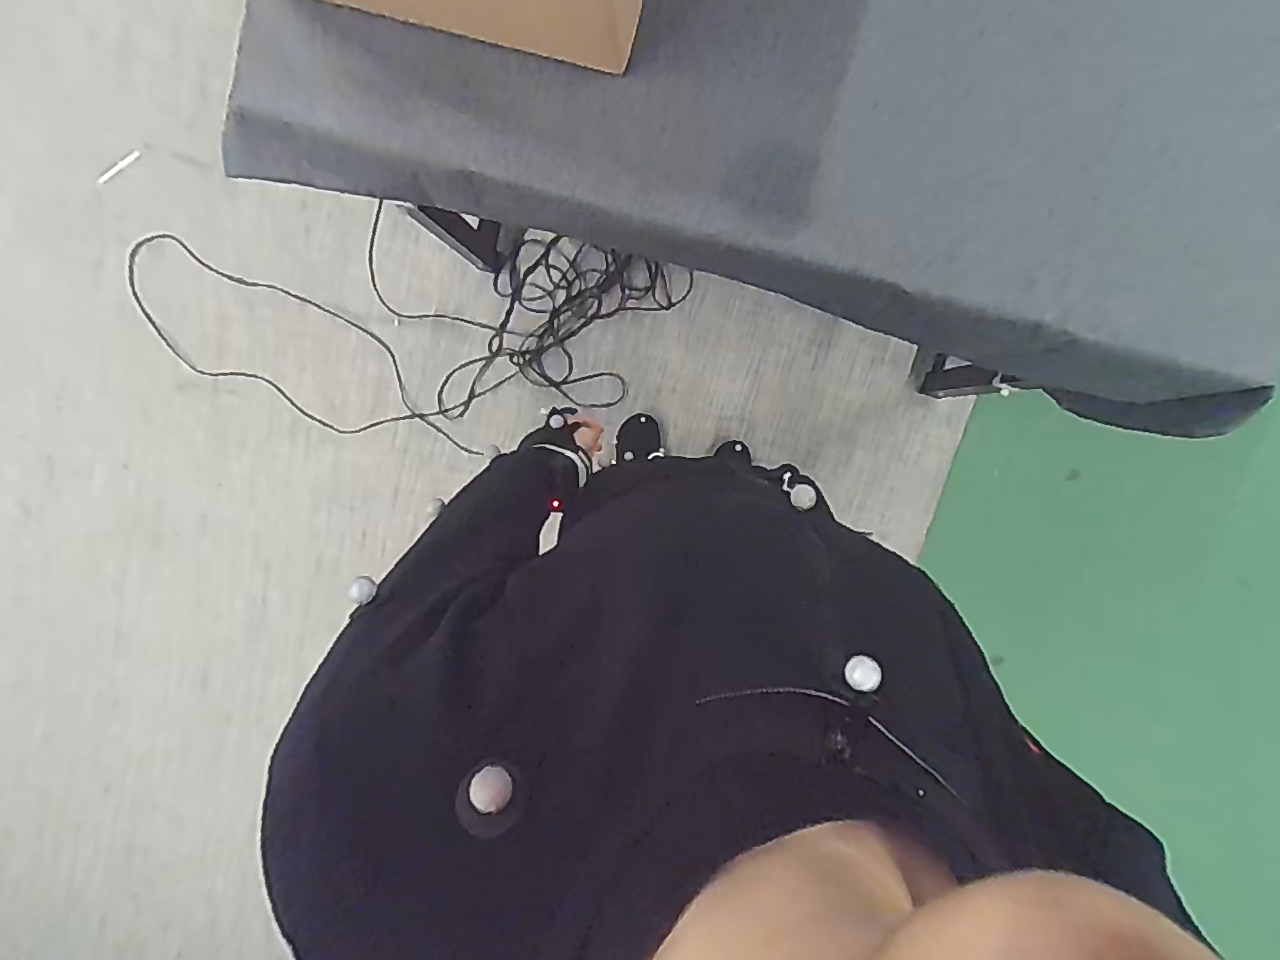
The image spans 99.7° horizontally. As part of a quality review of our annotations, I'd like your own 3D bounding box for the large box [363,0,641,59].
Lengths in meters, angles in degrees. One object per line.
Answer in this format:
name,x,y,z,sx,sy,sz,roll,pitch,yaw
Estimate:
large box,-0.174,-0.630,0.429,0.408,0.320,0.320,14,97,0
